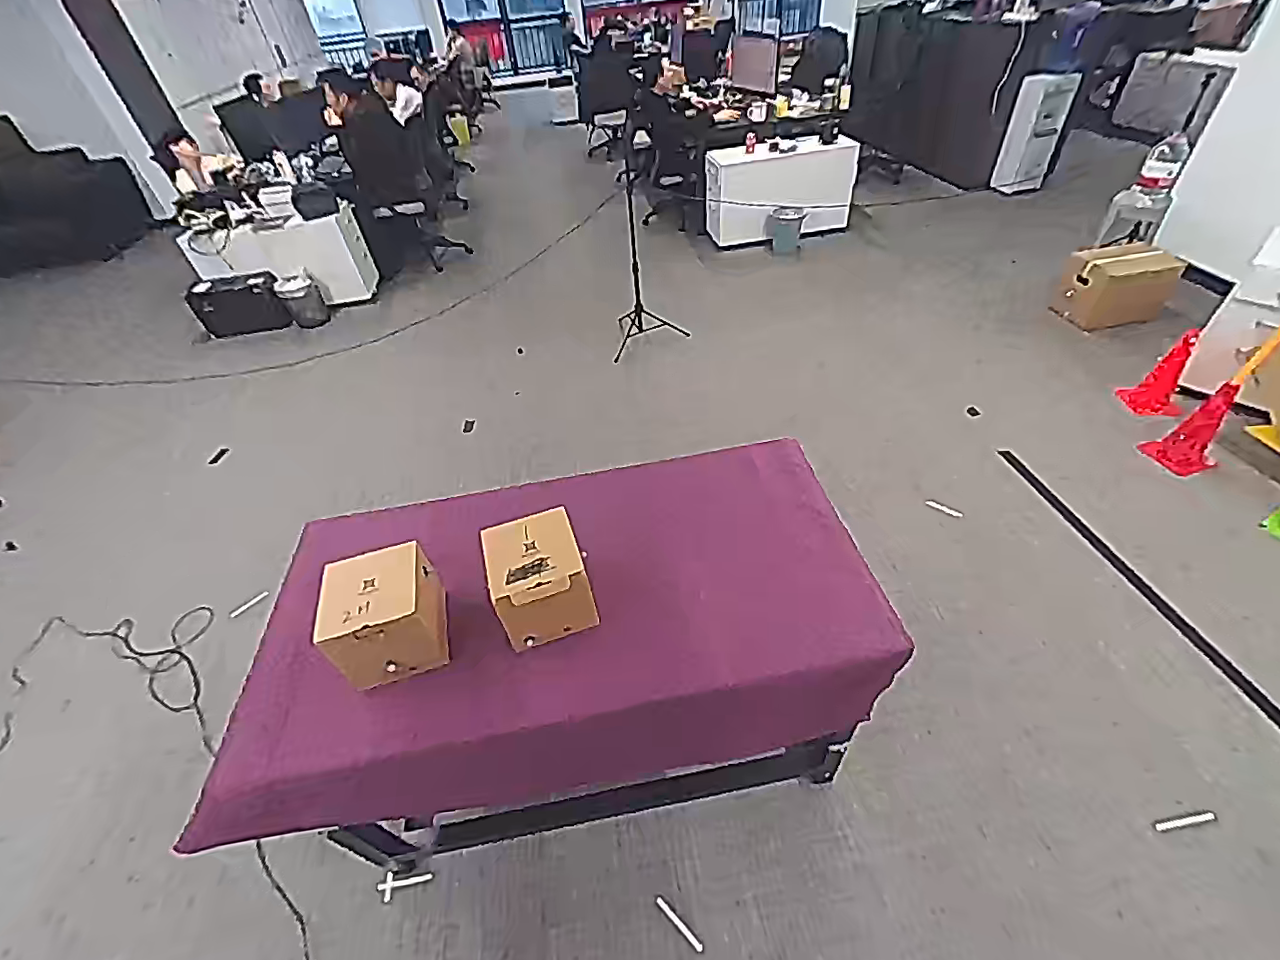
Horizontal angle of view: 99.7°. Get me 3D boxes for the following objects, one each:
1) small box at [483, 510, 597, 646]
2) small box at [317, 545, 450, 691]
[{"bbox_3d":[-0.188,0.193,1.033,0.168,0.176,0.179,-17,43,-10],"label":"small box"},{"bbox_3d":[-0.462,0.254,1.002,0.168,0.176,0.179,-16,44,-9],"label":"small box"}]
